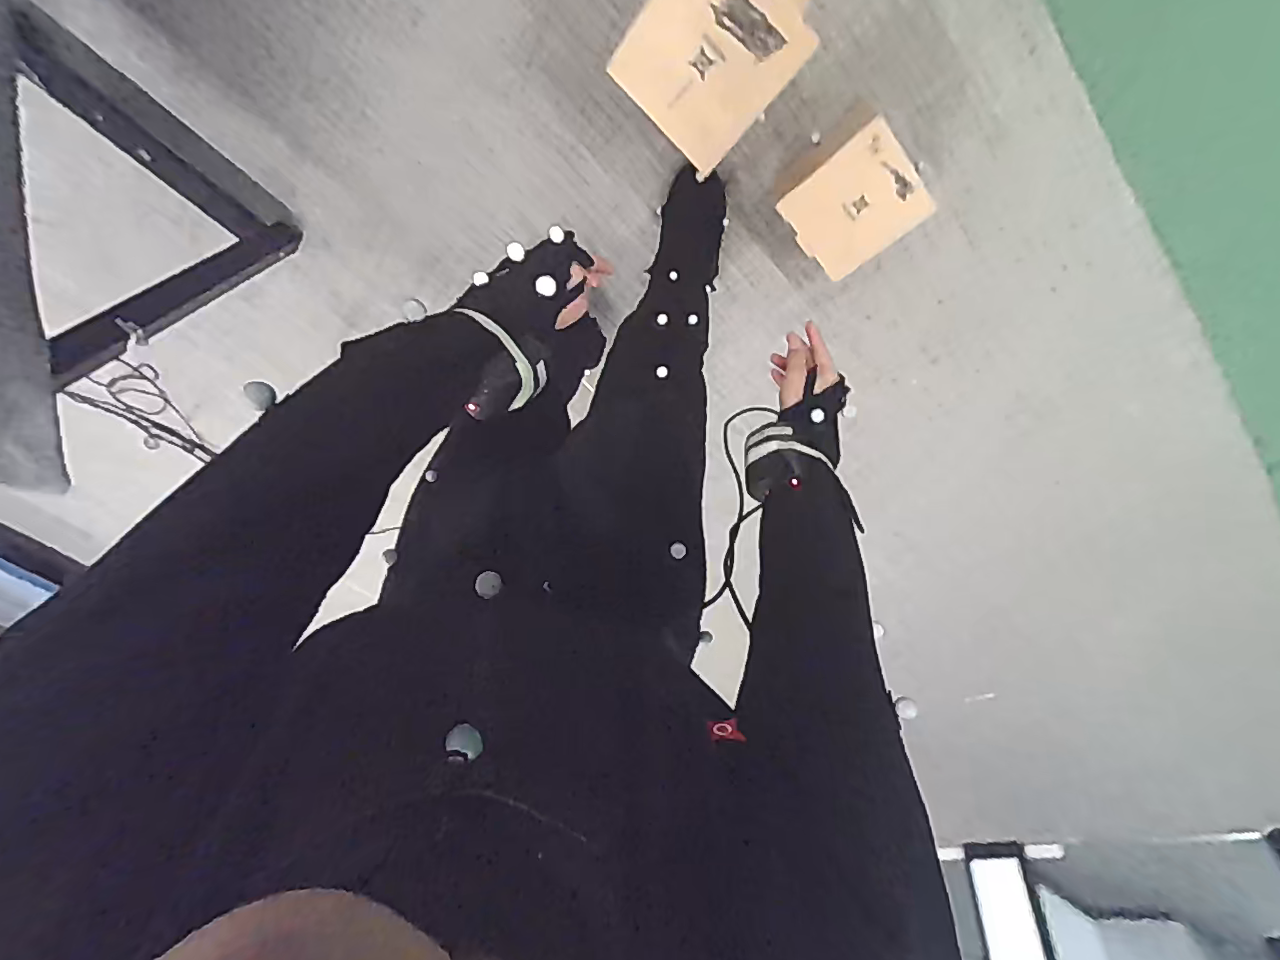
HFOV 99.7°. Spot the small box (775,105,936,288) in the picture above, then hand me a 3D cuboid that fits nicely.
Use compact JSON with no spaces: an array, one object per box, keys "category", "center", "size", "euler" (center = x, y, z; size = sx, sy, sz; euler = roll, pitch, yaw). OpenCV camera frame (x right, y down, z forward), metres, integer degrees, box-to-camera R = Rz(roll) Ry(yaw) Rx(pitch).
[{"category":"small box","center":[0.339,-0.452,0.867],"size":[0.179,0.176,0.168],"euler":[-31,120,36]}]

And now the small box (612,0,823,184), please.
[{"category":"small box","center":[0.094,-0.508,0.652],"size":[0.168,0.176,0.179],"euler":[38,130,-19]}]
